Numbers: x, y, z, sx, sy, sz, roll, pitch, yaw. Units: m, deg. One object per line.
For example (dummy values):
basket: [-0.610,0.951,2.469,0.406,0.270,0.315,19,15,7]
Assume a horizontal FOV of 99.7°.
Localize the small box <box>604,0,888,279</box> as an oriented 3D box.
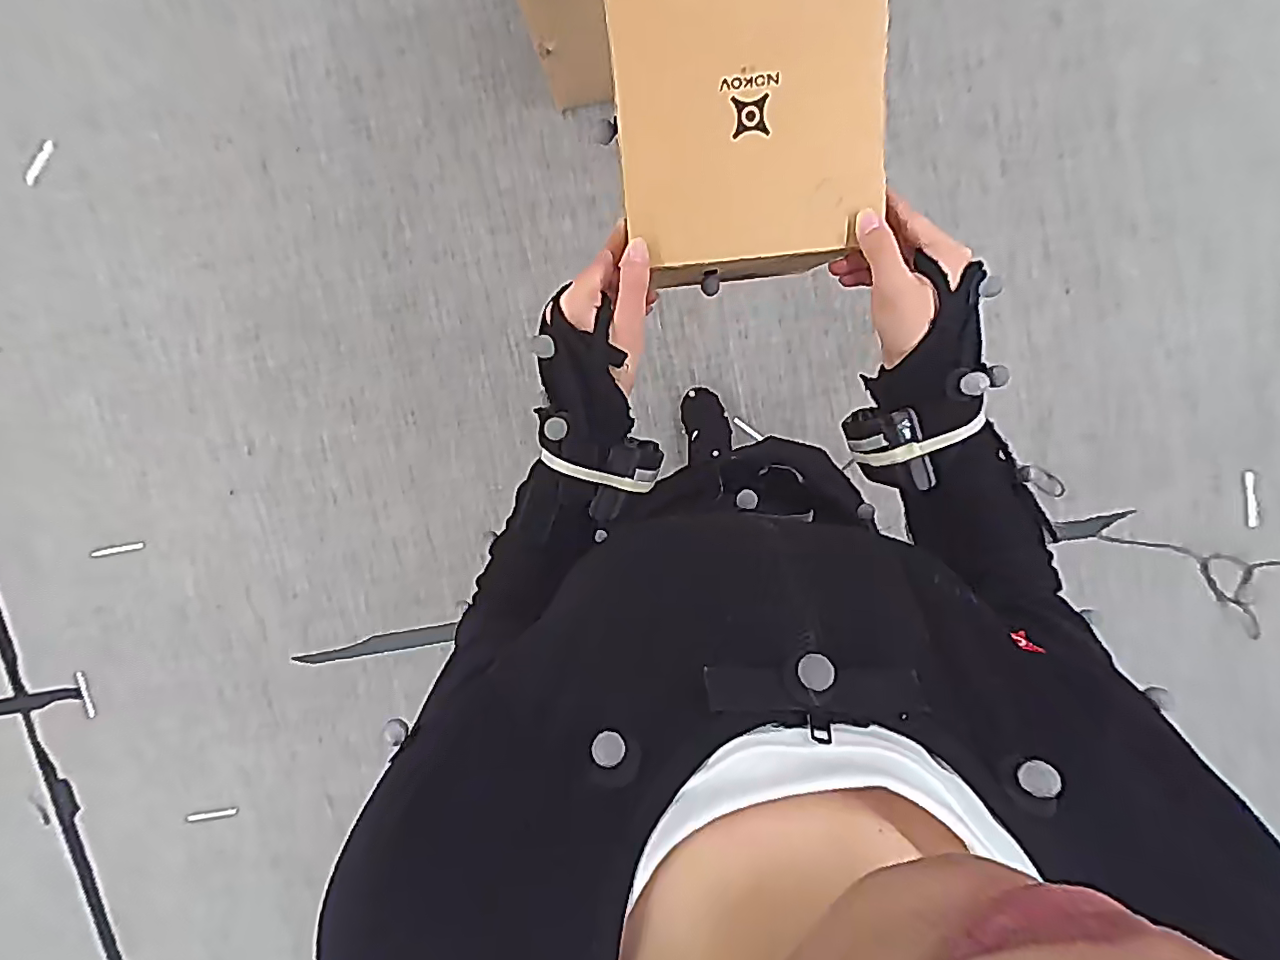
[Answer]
small box: [0.067,-0.252,0.404,0.168,0.176,0.179,-5,104,2]
